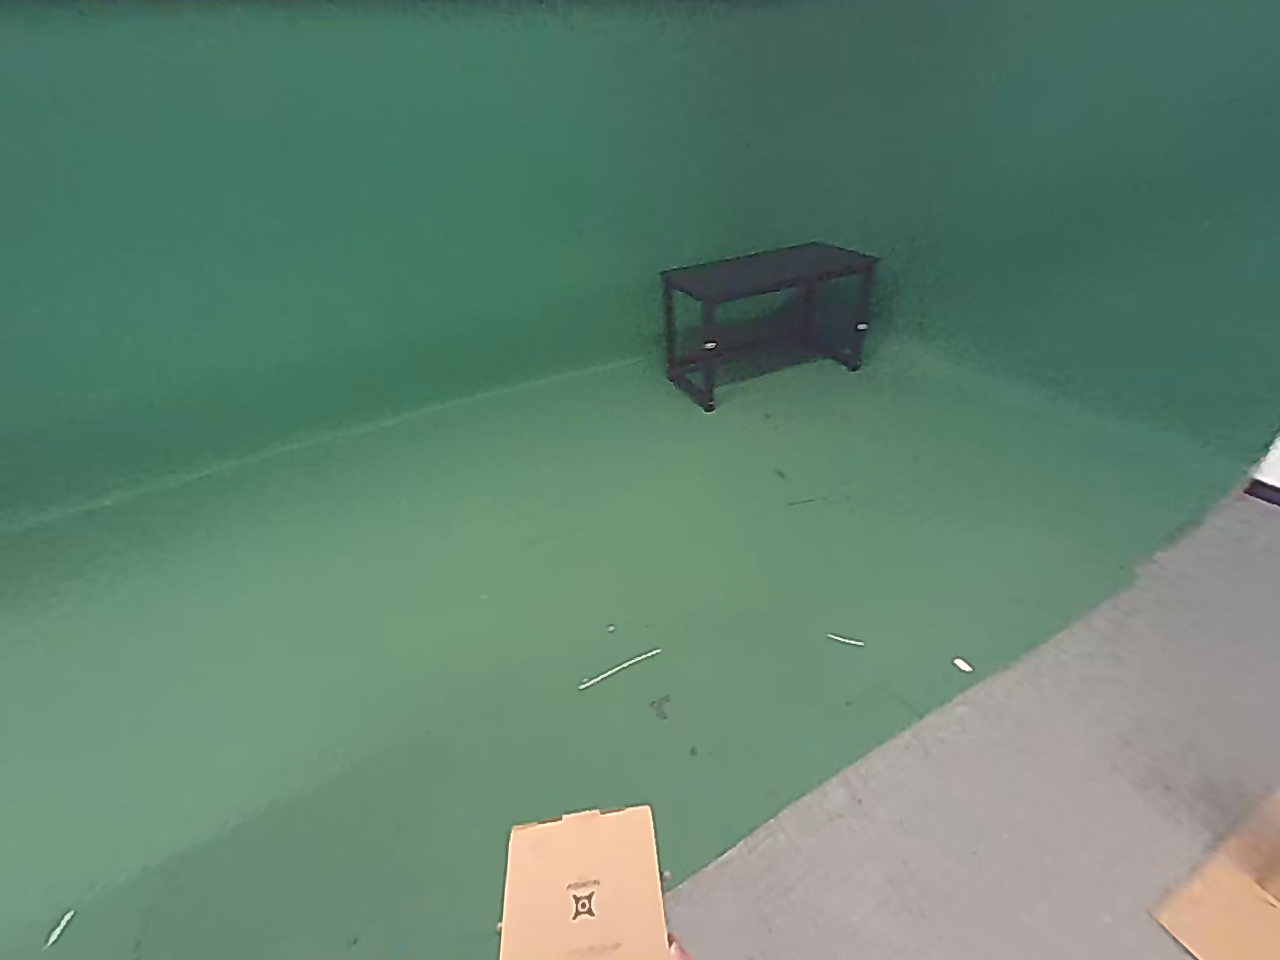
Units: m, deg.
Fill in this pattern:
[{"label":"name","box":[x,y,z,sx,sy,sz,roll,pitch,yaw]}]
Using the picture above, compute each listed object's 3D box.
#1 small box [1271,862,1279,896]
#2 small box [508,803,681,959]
[{"label":"small box","box":[1.596,0.904,1.214,0.179,0.176,0.168,-25,40,-25]},{"label":"small box","box":[-0.044,0.495,0.592,0.168,0.176,0.179,-6,31,-3]}]
